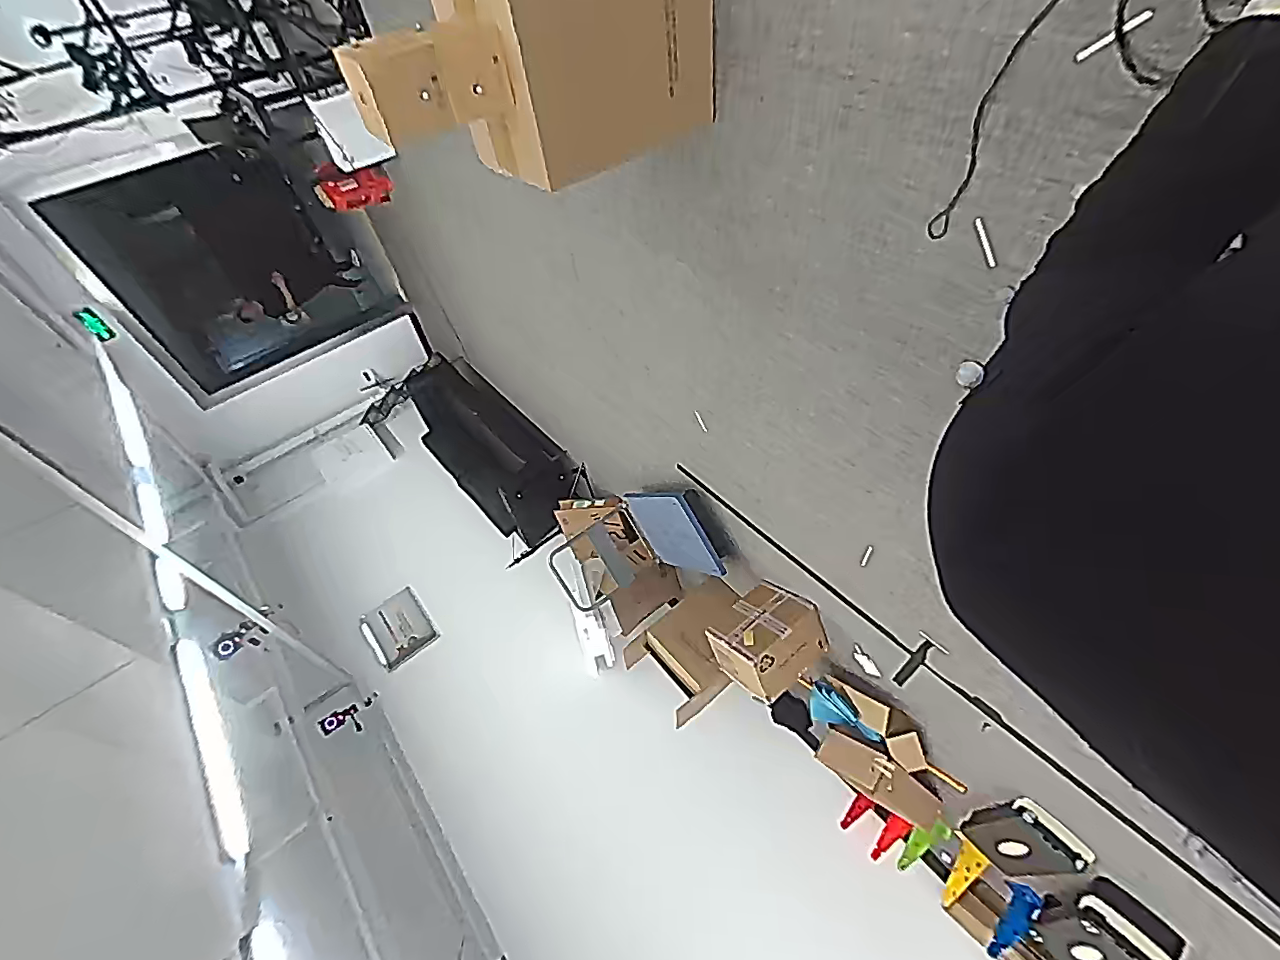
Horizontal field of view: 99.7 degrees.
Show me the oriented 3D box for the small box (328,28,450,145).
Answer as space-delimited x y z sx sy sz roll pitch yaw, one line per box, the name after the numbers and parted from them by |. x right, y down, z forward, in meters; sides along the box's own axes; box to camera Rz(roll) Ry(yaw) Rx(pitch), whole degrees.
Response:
-0.567 -0.908 1.240 0.179 0.176 0.168 43 157 30 | small box

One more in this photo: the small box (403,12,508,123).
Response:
-0.436 -0.992 1.296 0.179 0.176 0.168 42 156 32 | small box
